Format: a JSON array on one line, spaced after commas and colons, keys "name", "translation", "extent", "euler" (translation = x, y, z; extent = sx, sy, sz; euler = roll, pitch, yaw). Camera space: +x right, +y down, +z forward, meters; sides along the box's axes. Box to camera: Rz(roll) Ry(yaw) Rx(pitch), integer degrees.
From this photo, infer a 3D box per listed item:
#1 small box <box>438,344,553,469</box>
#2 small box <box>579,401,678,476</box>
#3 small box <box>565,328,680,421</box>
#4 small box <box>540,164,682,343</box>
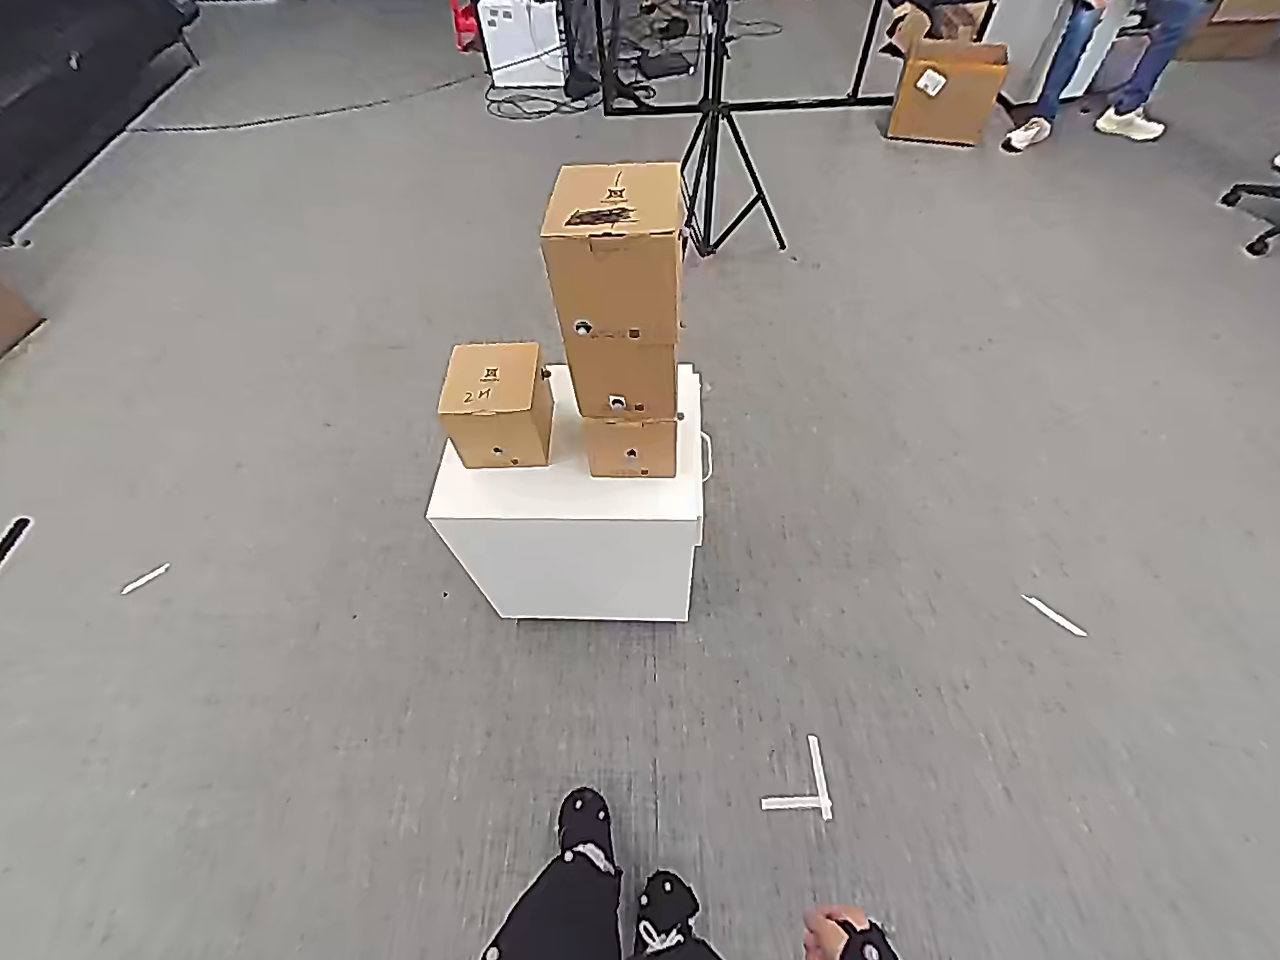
[{"name": "small box", "translation": [-0.266, -0.139, 1.044], "extent": [0.168, 0.176, 0.179], "euler": [-2, 57, 1]}, {"name": "small box", "translation": [-0.013, -0.119, 1.020], "extent": [0.168, 0.176, 0.179], "euler": [0, 57, 4]}, {"name": "small box", "translation": [-0.020, -0.218, 0.889], "extent": [0.168, 0.176, 0.179], "euler": [0, 57, 5]}, {"name": "small box", "translation": [-0.027, -0.308, 0.751], "extent": [0.168, 0.176, 0.179], "euler": [1, 55, 5]}]
